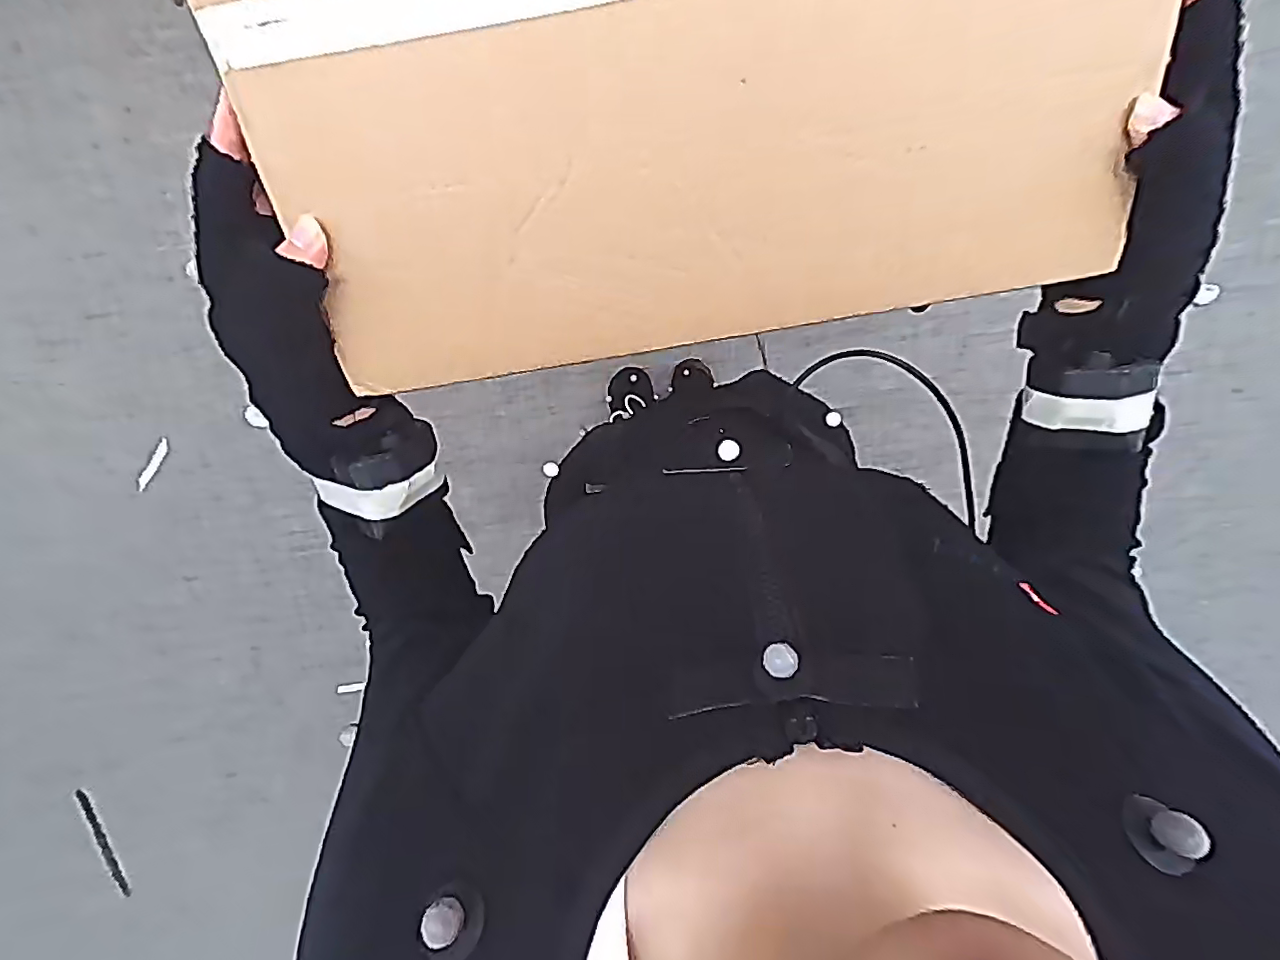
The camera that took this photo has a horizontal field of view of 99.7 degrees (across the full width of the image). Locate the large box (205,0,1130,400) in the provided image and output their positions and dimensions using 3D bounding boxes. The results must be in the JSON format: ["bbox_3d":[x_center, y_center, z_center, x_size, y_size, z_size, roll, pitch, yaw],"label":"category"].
[{"bbox_3d":[0.012,-0.279,0.362,0.408,0.320,0.320,-9,116,2],"label":"large box"}]
